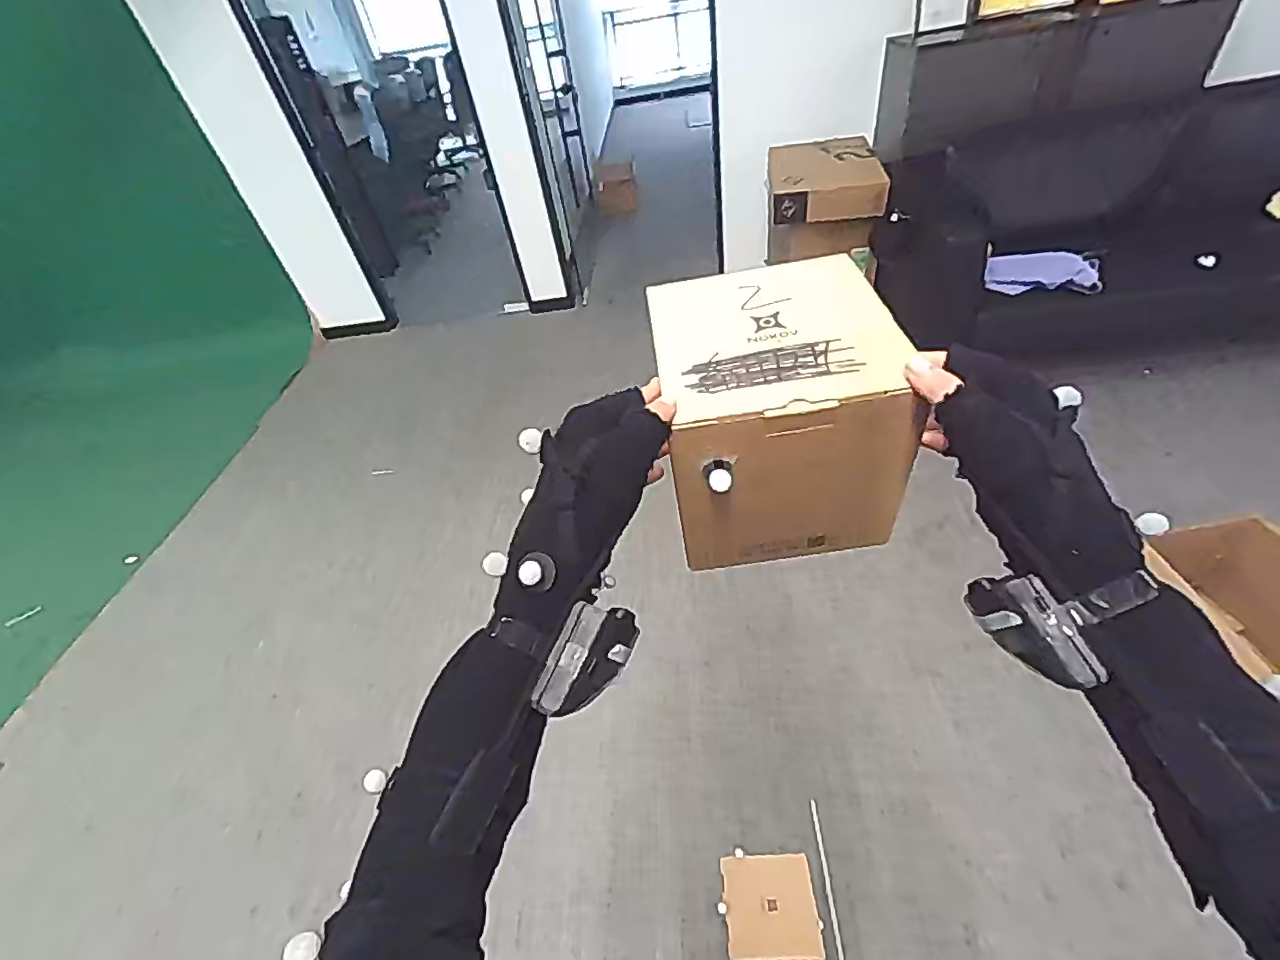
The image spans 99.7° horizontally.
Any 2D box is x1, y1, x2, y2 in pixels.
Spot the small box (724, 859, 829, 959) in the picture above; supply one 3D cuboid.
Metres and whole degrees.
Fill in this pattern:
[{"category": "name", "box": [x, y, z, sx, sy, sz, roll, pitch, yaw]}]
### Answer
[{"category": "small box", "box": [0.266, 0.880, 1.087, 0.179, 0.176, 0.168, -7, 42, 6]}]
